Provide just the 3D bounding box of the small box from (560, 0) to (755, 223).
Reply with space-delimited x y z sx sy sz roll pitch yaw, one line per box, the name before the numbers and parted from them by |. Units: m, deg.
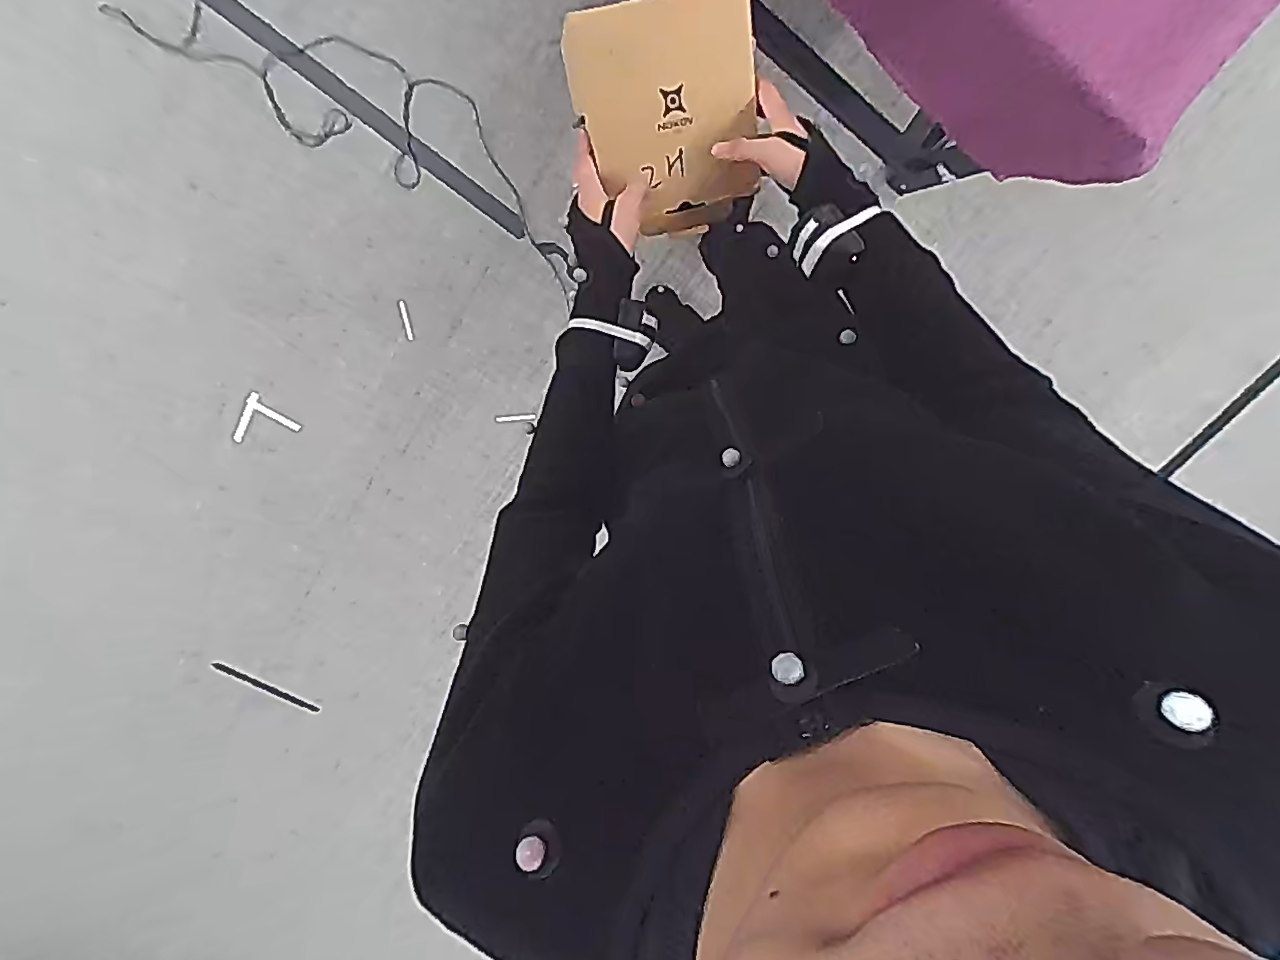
small box | 0.014 -0.395 0.584 0.168 0.176 0.179 -14 122 -1
